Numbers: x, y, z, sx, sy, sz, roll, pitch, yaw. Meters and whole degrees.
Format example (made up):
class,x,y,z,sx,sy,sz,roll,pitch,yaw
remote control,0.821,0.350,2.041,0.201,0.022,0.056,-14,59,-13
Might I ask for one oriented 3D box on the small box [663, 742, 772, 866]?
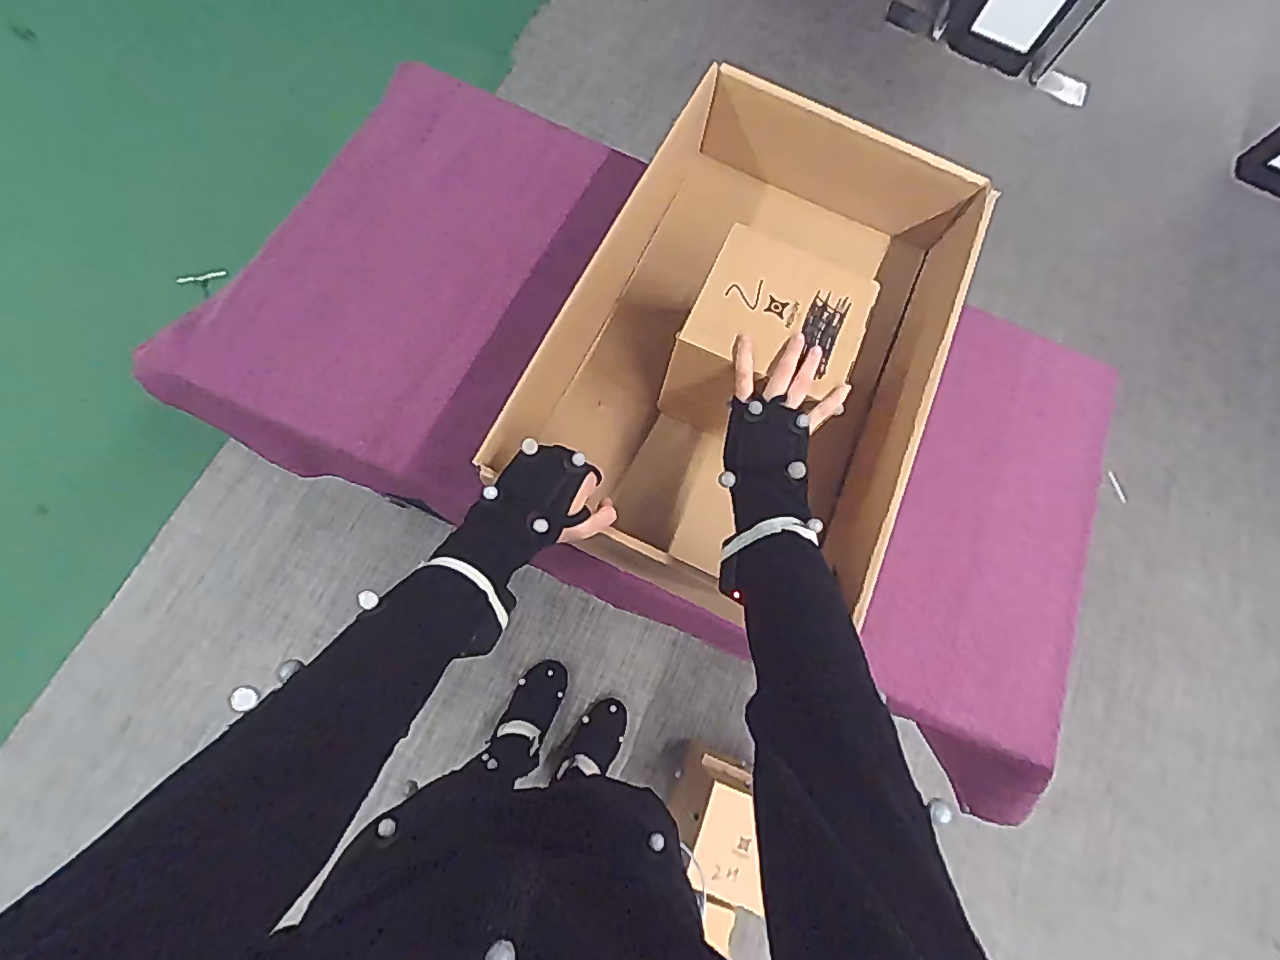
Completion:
class,x,y,z,sx,sy,sz,roll,pitch,yaw
small box,0.166,0.711,1.211,0.179,0.176,0.168,24,73,2

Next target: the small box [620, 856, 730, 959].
class,x,y,z,sx,sy,sz,roll,pitch,yaw
small box,0.066,0.930,1.138,0.179,0.176,0.168,20,72,-1
